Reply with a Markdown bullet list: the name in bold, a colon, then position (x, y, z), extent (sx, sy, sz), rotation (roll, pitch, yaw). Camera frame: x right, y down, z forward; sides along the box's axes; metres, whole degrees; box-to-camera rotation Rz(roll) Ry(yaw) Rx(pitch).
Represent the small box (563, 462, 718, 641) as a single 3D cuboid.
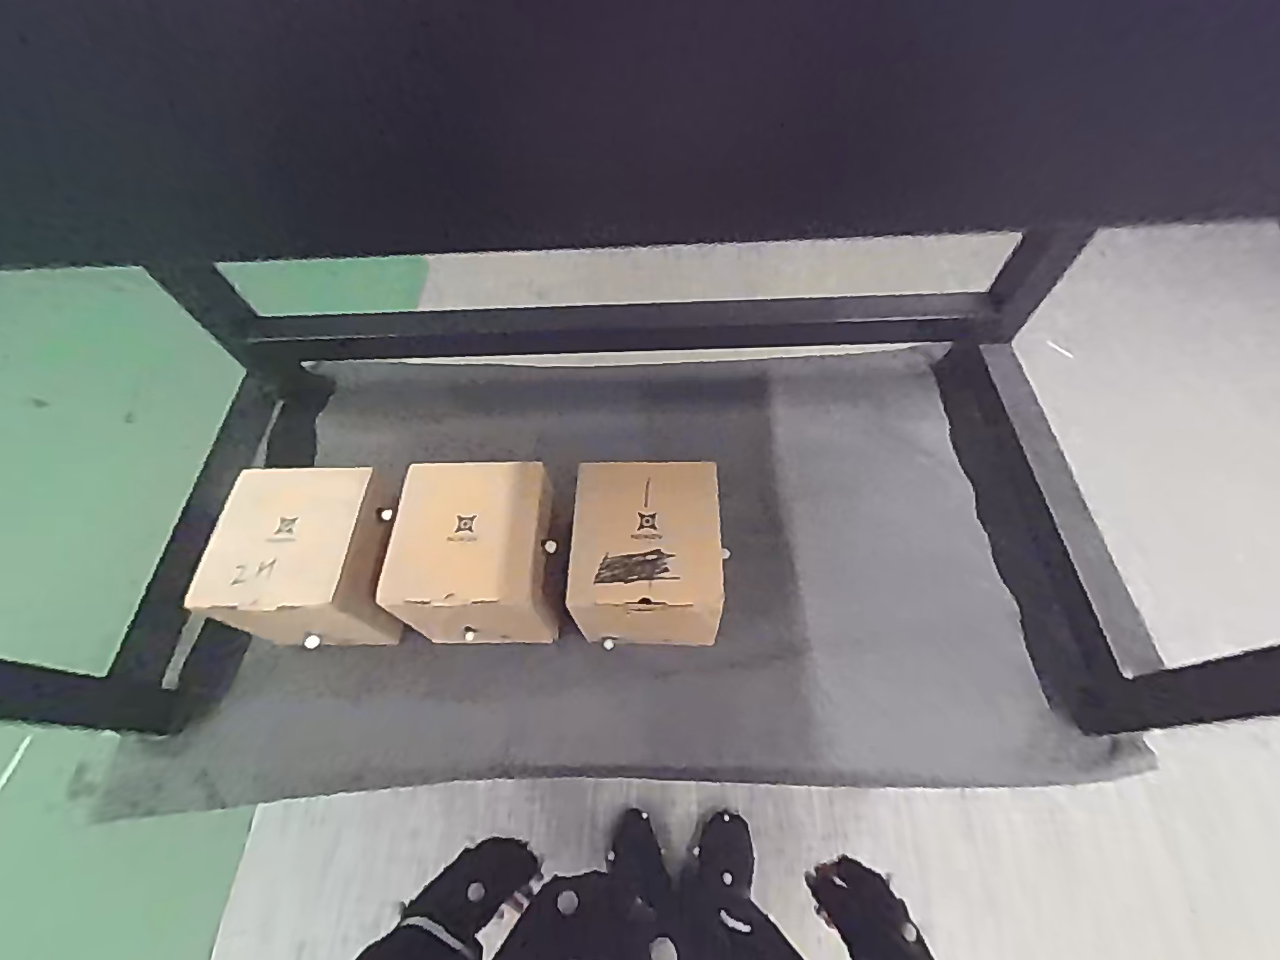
- **small box**: position (0.008, 0.095, 0.667), extent (0.168, 0.176, 0.179), rotation (-1, 59, 3)
